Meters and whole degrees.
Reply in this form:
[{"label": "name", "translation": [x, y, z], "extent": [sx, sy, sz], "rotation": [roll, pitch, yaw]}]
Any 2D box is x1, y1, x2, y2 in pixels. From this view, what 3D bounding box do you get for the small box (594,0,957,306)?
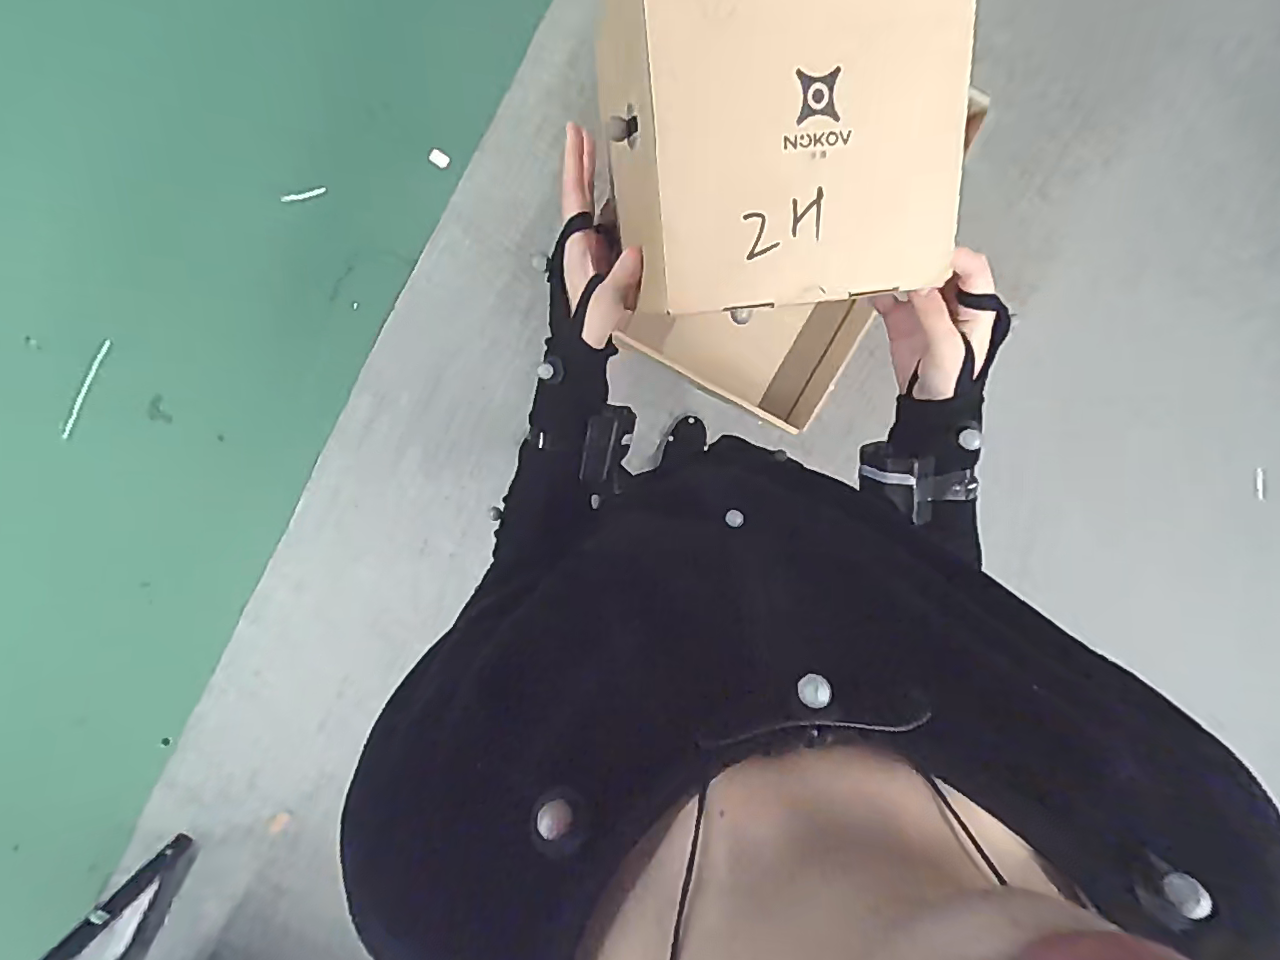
[{"label": "small box", "translation": [0.066, -0.210, 0.346], "extent": [0.168, 0.176, 0.179], "rotation": [-8, 109, -7]}]
